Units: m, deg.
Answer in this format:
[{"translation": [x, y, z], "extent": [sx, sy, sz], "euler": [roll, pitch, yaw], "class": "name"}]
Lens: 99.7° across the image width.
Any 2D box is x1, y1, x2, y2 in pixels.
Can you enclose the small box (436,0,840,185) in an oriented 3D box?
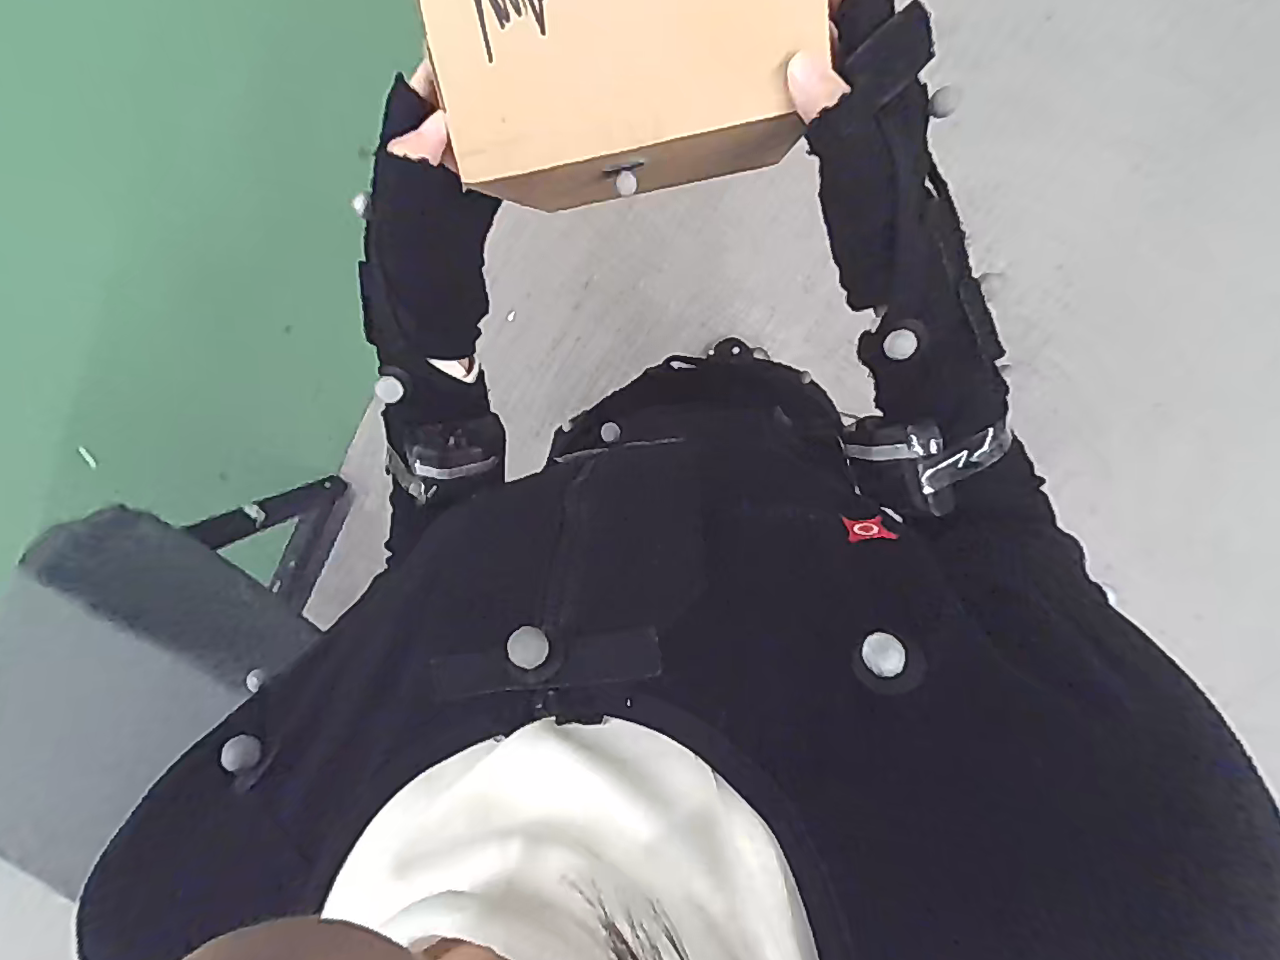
[{"translation": [-0.001, -0.272, 0.293], "extent": [0.179, 0.176, 0.168], "euler": [-7, 112, 9], "class": "small box"}]
